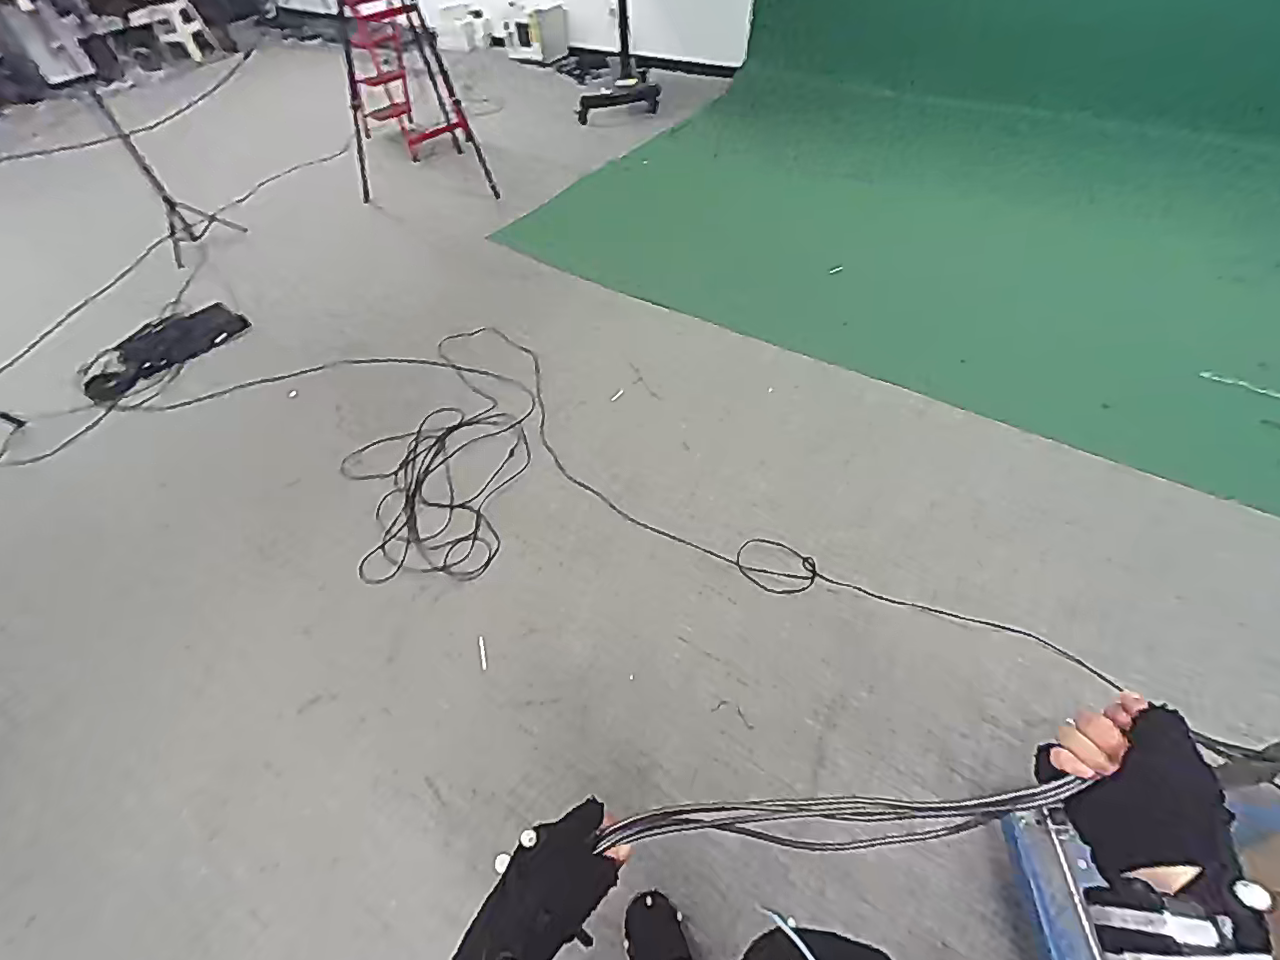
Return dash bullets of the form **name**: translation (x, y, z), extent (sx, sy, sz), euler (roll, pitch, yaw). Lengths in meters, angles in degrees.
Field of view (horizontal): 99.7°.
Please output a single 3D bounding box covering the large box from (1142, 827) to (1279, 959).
- **large box**: translation (1.116, 0.768, 0.785), extent (0.320, 0.320, 0.408), euler (-16, 51, -10)
